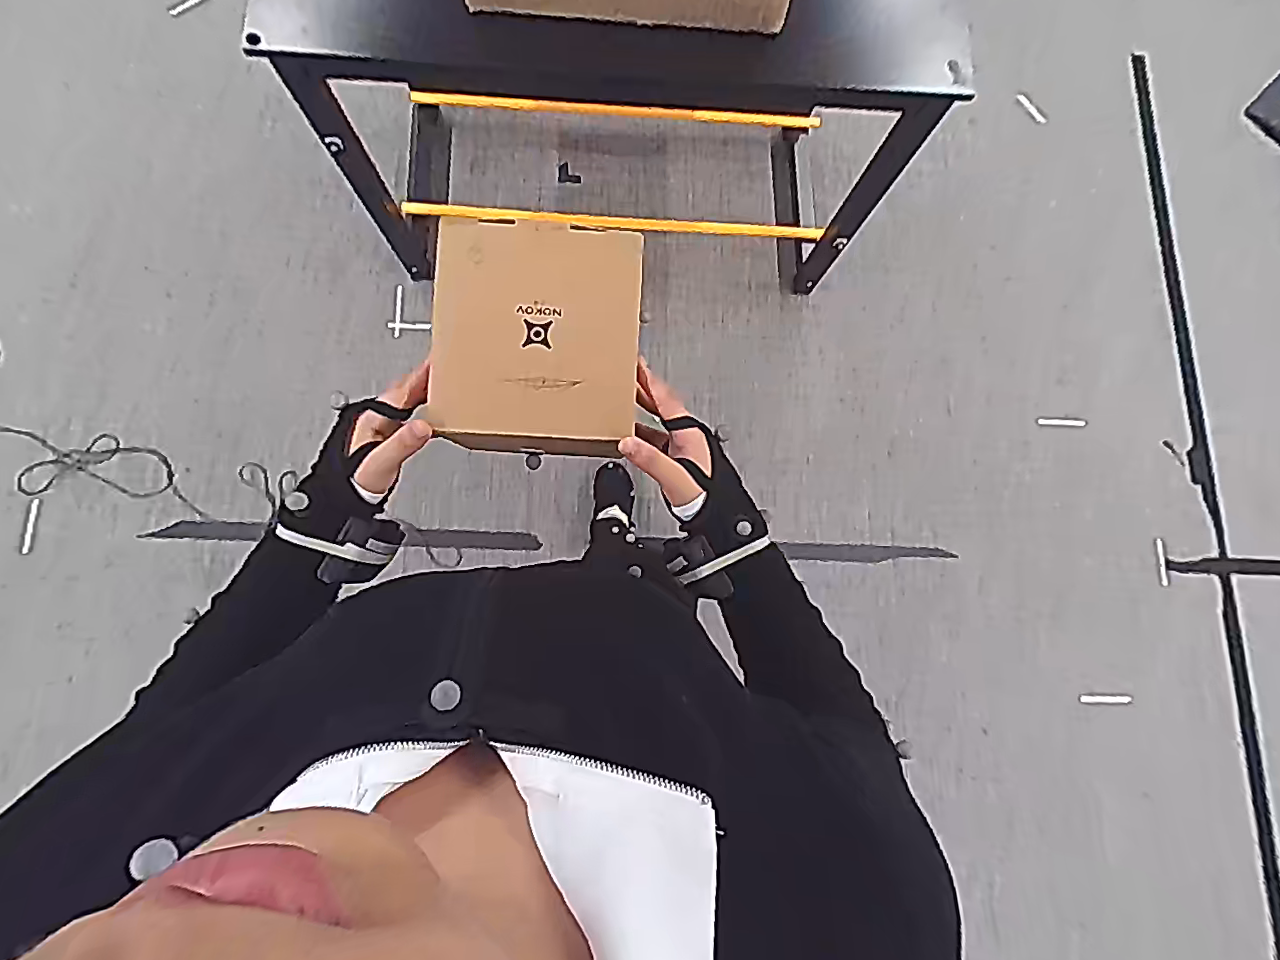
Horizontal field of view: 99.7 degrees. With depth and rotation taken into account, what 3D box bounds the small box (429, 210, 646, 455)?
[{"bbox_3d":[-0.086,-0.122,0.512,0.168,0.176,0.179,2,87,-4],"label":"small box"}]
